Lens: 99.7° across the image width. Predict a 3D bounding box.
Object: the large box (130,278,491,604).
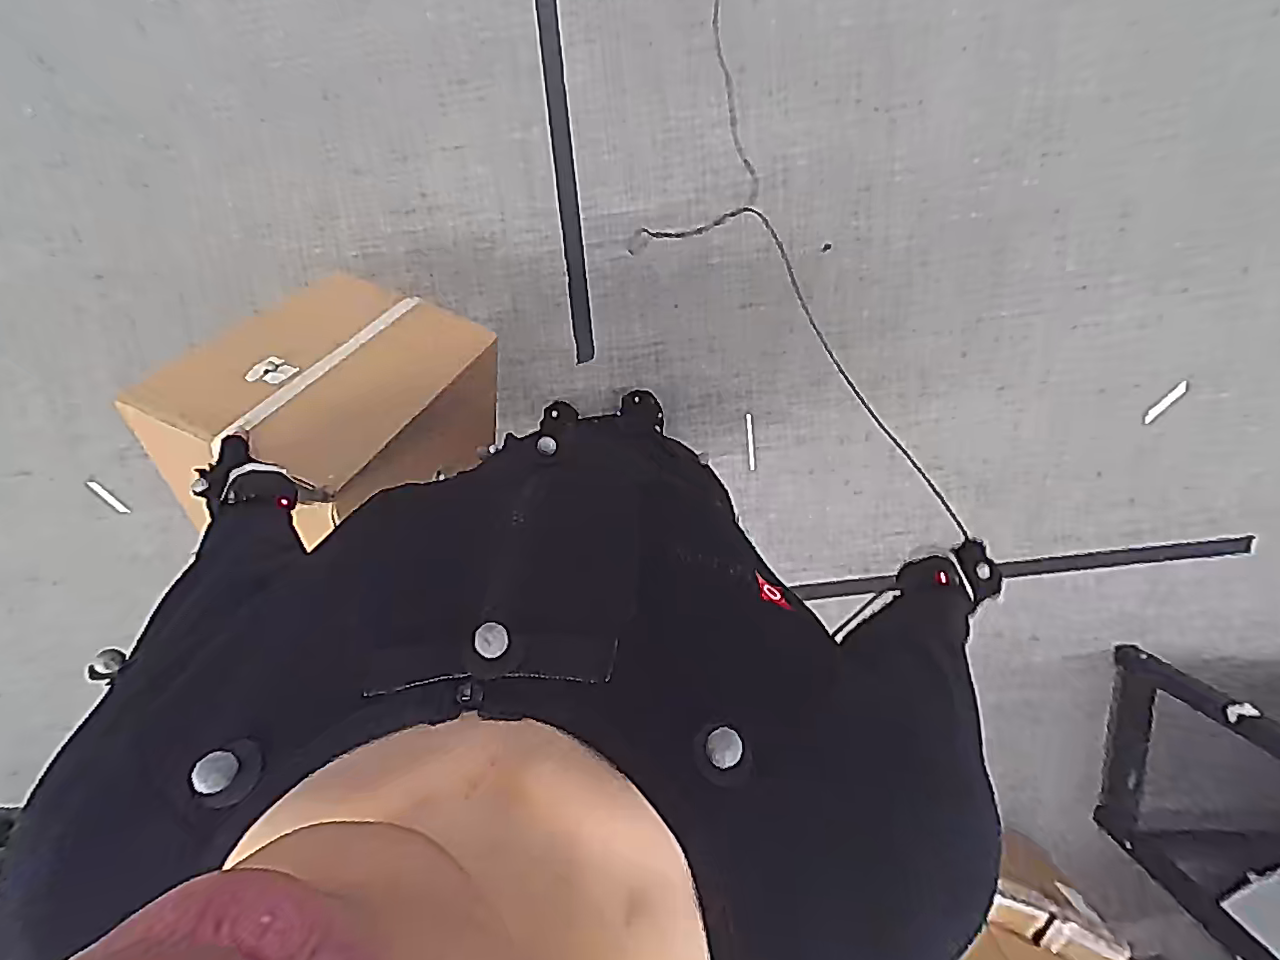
[{"bbox_3d":[-0.491,-0.074,0.928,0.320,0.408,0.320,23,138,4],"label":"large box"}]
